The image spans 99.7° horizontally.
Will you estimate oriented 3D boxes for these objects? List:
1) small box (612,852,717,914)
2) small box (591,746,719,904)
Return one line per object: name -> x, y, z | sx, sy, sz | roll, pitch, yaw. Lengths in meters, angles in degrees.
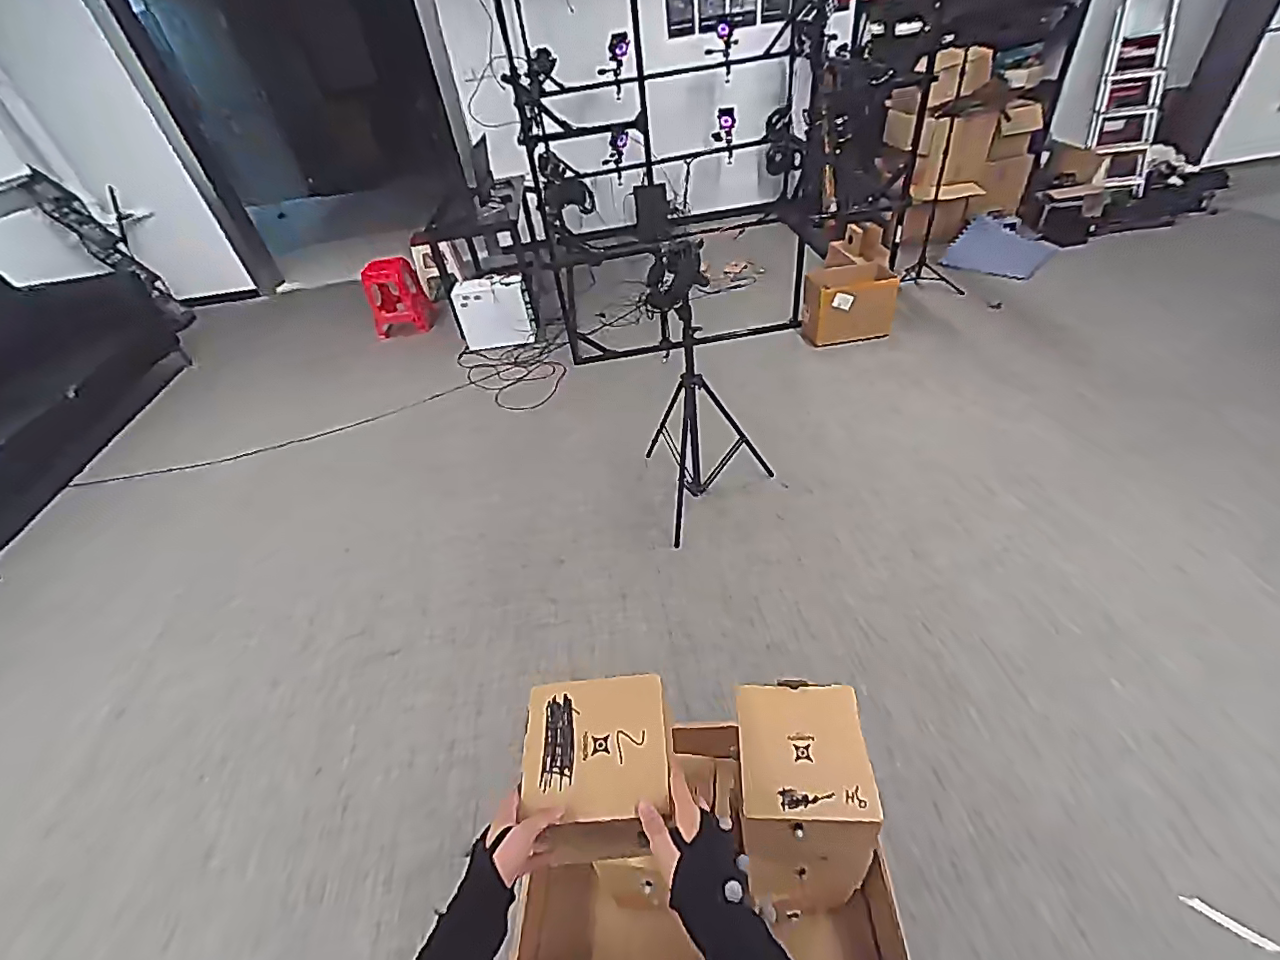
small box -> 0.048, 0.670, 0.988 | 0.179, 0.176, 0.168 | -2, 41, 6
small box -> 0.034, 0.556, 0.870 | 0.179, 0.176, 0.168 | 1, 41, 10
